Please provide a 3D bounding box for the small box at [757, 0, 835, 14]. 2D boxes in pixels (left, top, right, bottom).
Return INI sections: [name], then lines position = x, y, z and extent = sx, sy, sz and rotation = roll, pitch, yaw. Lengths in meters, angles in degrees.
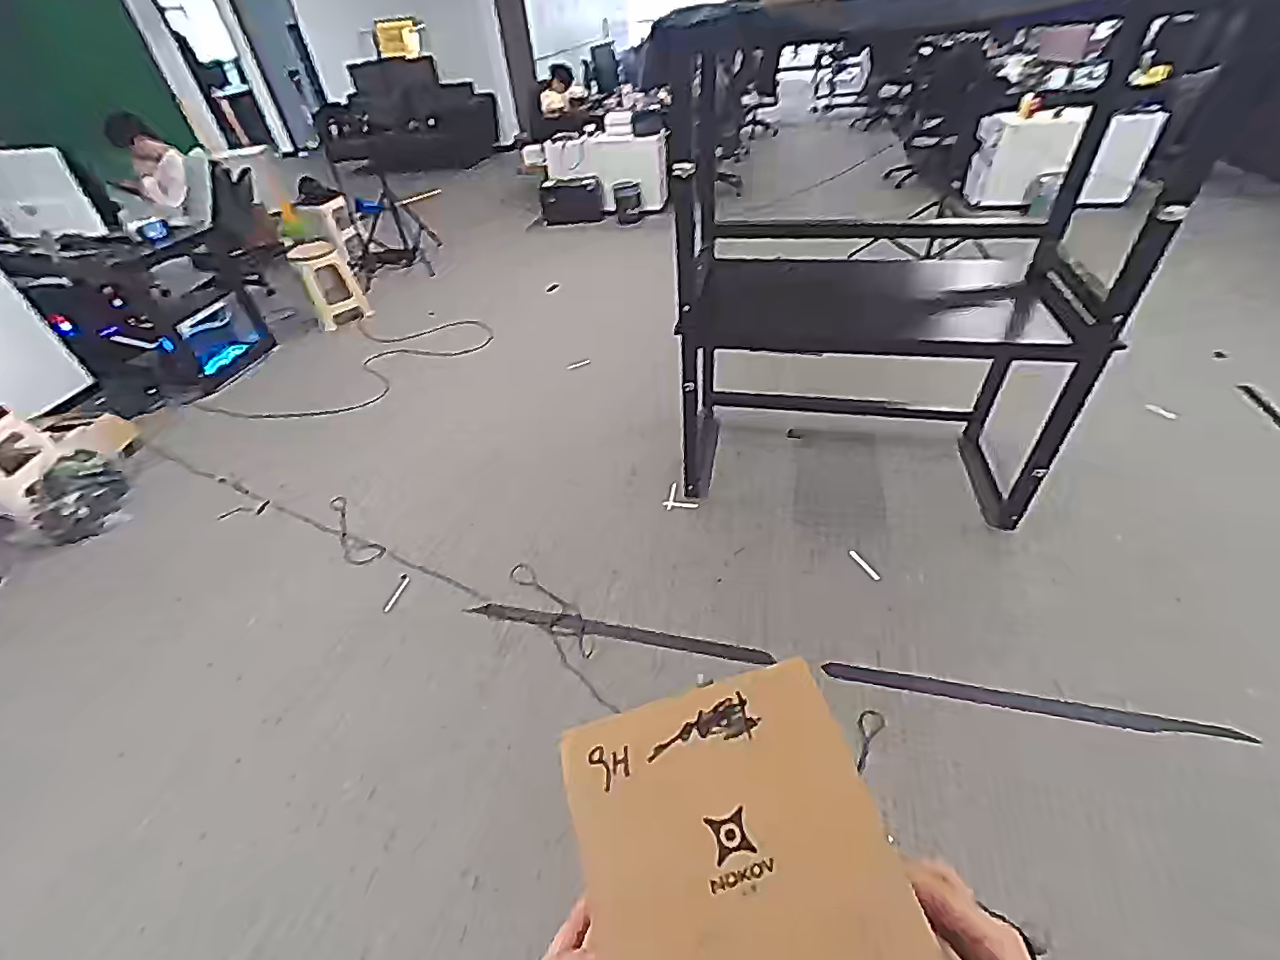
[small box]
position = 0.345, -1.126, 1.166
extent = 0.168, 0.176, 0.179
rotation = 4, 40, 9
